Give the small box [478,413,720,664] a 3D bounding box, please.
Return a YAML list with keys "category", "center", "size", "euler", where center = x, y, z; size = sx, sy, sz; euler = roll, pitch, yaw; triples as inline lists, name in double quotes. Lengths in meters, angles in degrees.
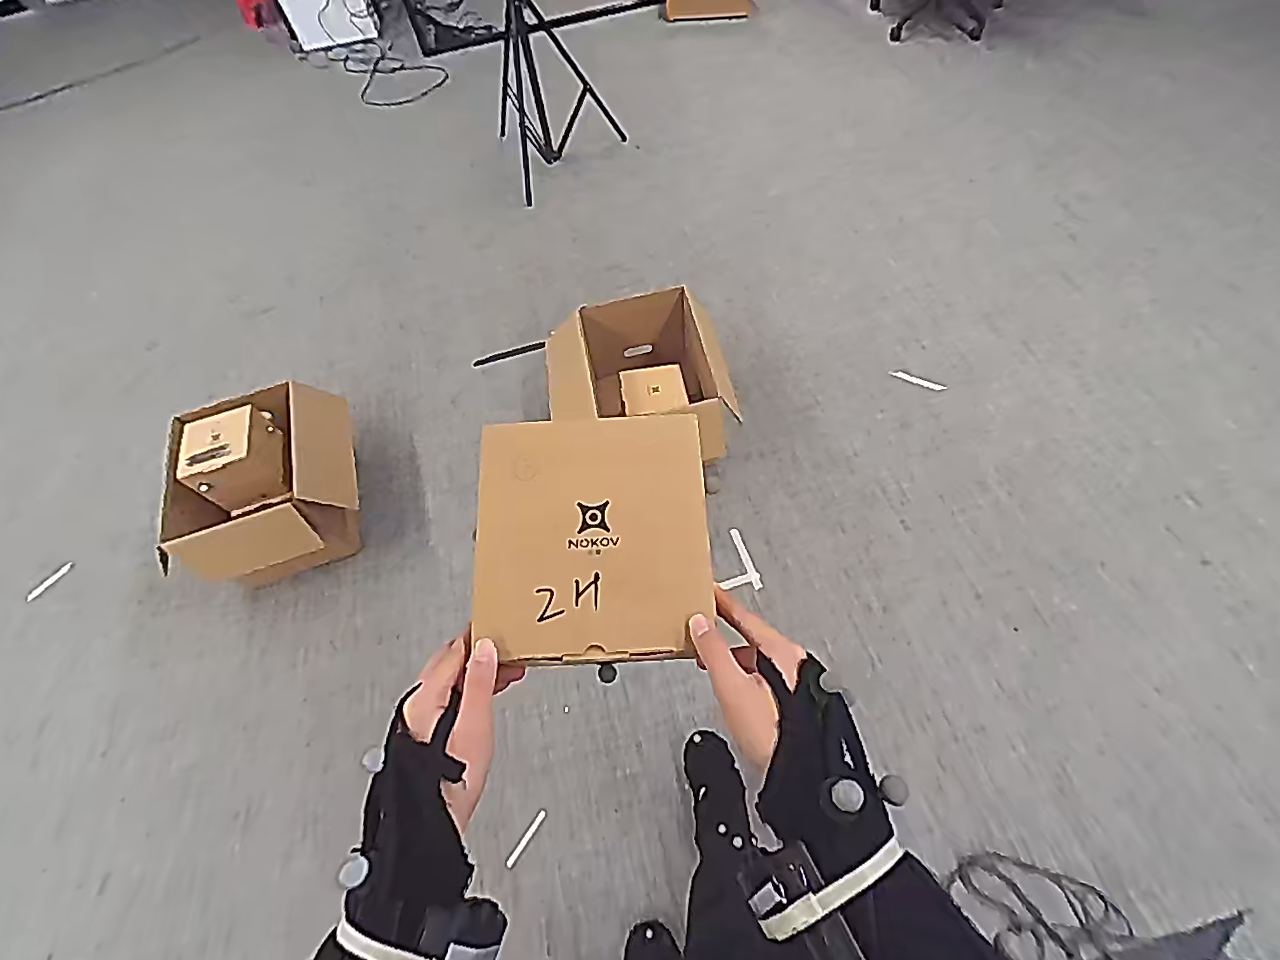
- category: "small box"
  center: [-0.030, 0.060, 0.466]
  size: [0.168, 0.176, 0.179]
  euler: [-3, 69, 0]
